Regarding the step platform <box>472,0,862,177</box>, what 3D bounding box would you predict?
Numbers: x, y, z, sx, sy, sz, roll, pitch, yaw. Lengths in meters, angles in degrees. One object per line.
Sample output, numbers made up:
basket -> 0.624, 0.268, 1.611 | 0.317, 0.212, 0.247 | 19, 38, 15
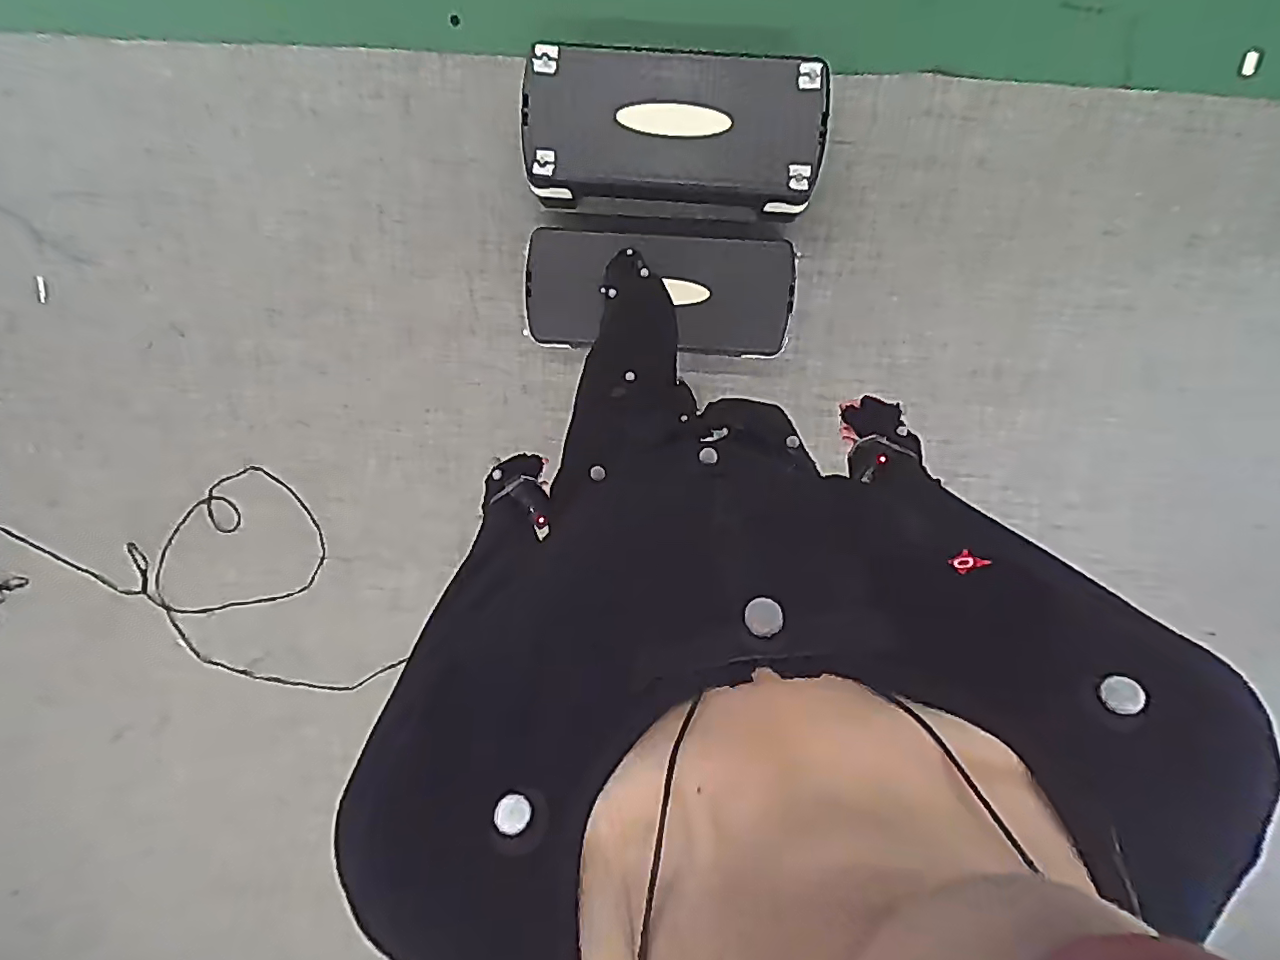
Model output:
step platform -> 0.045, -0.770, 1.039 | 0.684, 0.204, 0.286 | 4, 102, 2
